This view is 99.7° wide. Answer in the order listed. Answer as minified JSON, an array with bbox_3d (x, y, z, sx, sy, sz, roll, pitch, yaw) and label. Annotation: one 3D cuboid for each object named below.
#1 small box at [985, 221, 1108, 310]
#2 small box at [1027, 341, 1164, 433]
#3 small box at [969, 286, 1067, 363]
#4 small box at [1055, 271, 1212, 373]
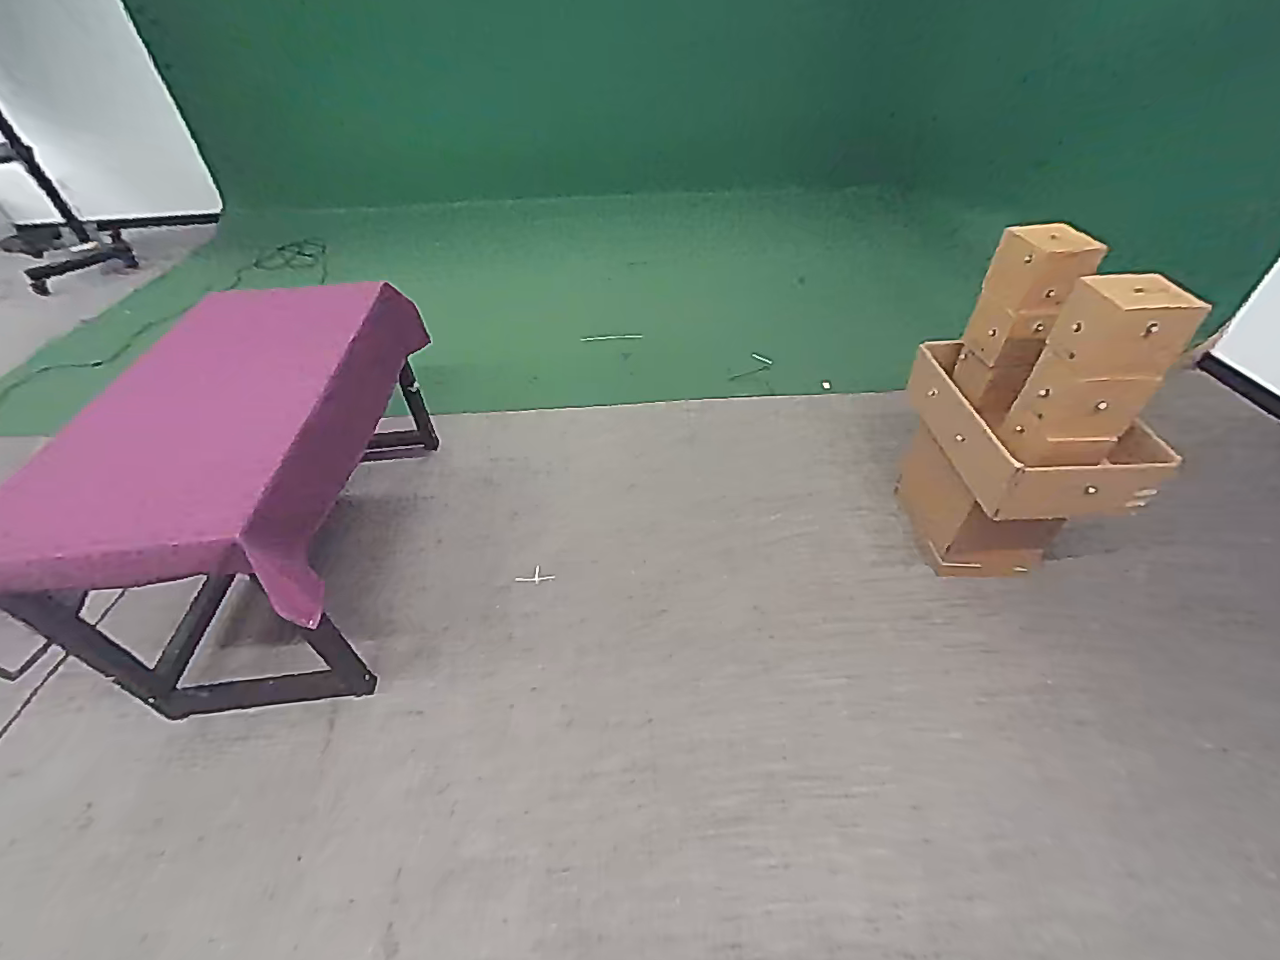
[{"bbox_3d":[1.074,-0.576,1.449,0.168,0.176,0.179,-6,45,-3],"label":"small box"},{"bbox_3d":[1.086,-0.225,1.315,0.179,0.176,0.168,-1,44,3],"label":"small box"},{"bbox_3d":[1.081,-0.449,1.551,0.179,0.176,0.168,-5,44,-2],"label":"small box"},{"bbox_3d":[1.077,-0.350,1.206,0.179,0.176,0.168,0,44,2],"label":"small box"}]
